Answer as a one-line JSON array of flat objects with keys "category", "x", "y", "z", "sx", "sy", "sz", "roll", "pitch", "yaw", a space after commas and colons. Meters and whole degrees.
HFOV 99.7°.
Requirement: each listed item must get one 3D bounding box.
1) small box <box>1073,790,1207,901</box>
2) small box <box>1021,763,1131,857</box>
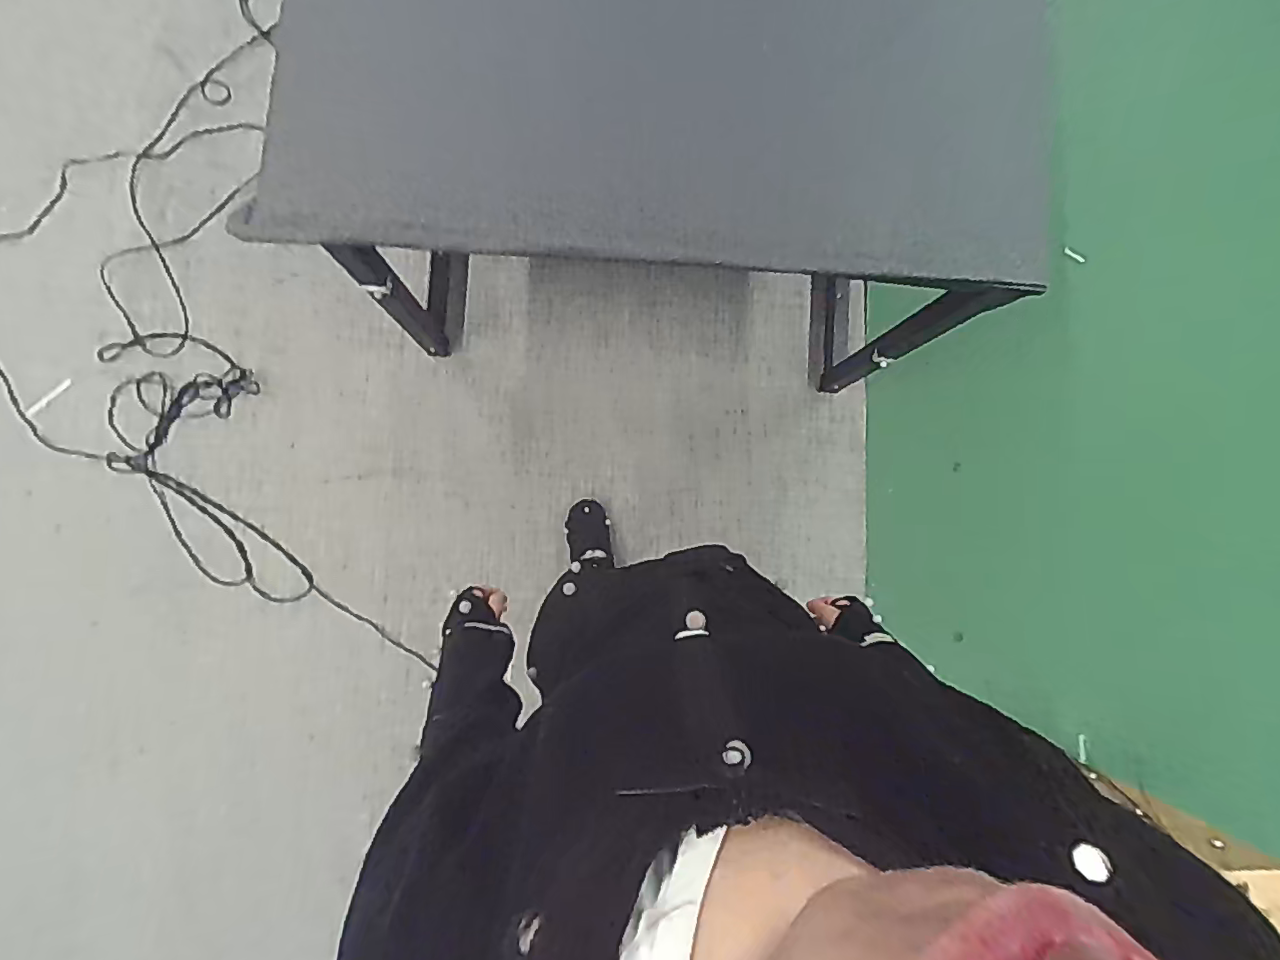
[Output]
[{"category": "small box", "x": 1.199, "y": 0.872, "z": 1.306, "sx": 0.179, "sy": 0.176, "sz": 0.168, "roll": 2, "pitch": 85, "yaw": -6}, {"category": "small box", "x": 1.178, "y": 0.887, "z": 1.466, "sx": 0.179, "sy": 0.176, "sz": 0.168, "roll": 3, "pitch": 84, "yaw": -6}]
